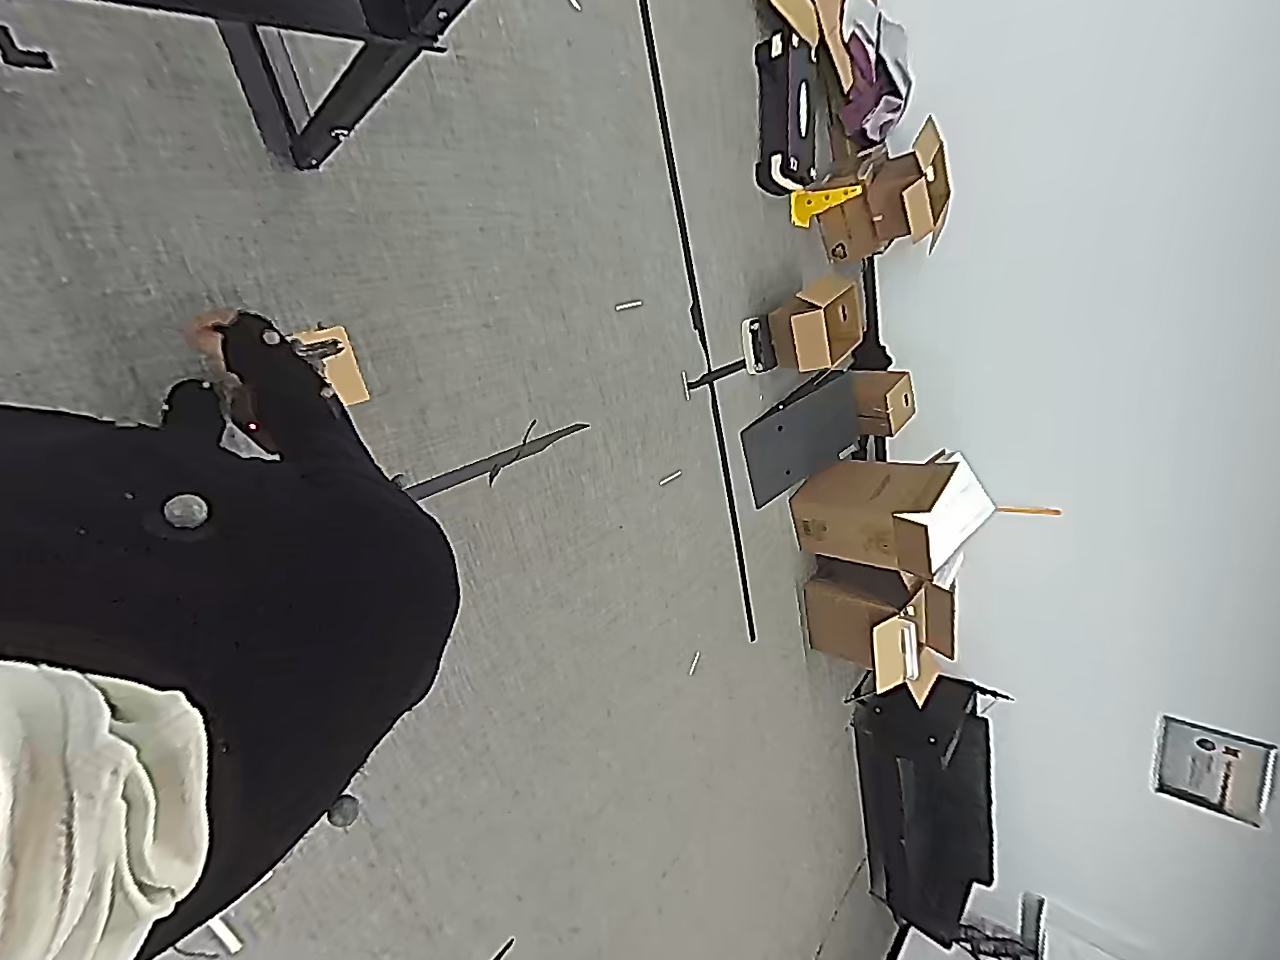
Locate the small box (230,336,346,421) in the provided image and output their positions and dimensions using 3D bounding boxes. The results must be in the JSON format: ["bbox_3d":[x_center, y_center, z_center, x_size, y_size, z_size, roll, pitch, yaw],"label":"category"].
[{"bbox_3d":[-0.880,-0.255,1.351,0.179,0.176,0.168,-31,116,-38],"label":"small box"}]
